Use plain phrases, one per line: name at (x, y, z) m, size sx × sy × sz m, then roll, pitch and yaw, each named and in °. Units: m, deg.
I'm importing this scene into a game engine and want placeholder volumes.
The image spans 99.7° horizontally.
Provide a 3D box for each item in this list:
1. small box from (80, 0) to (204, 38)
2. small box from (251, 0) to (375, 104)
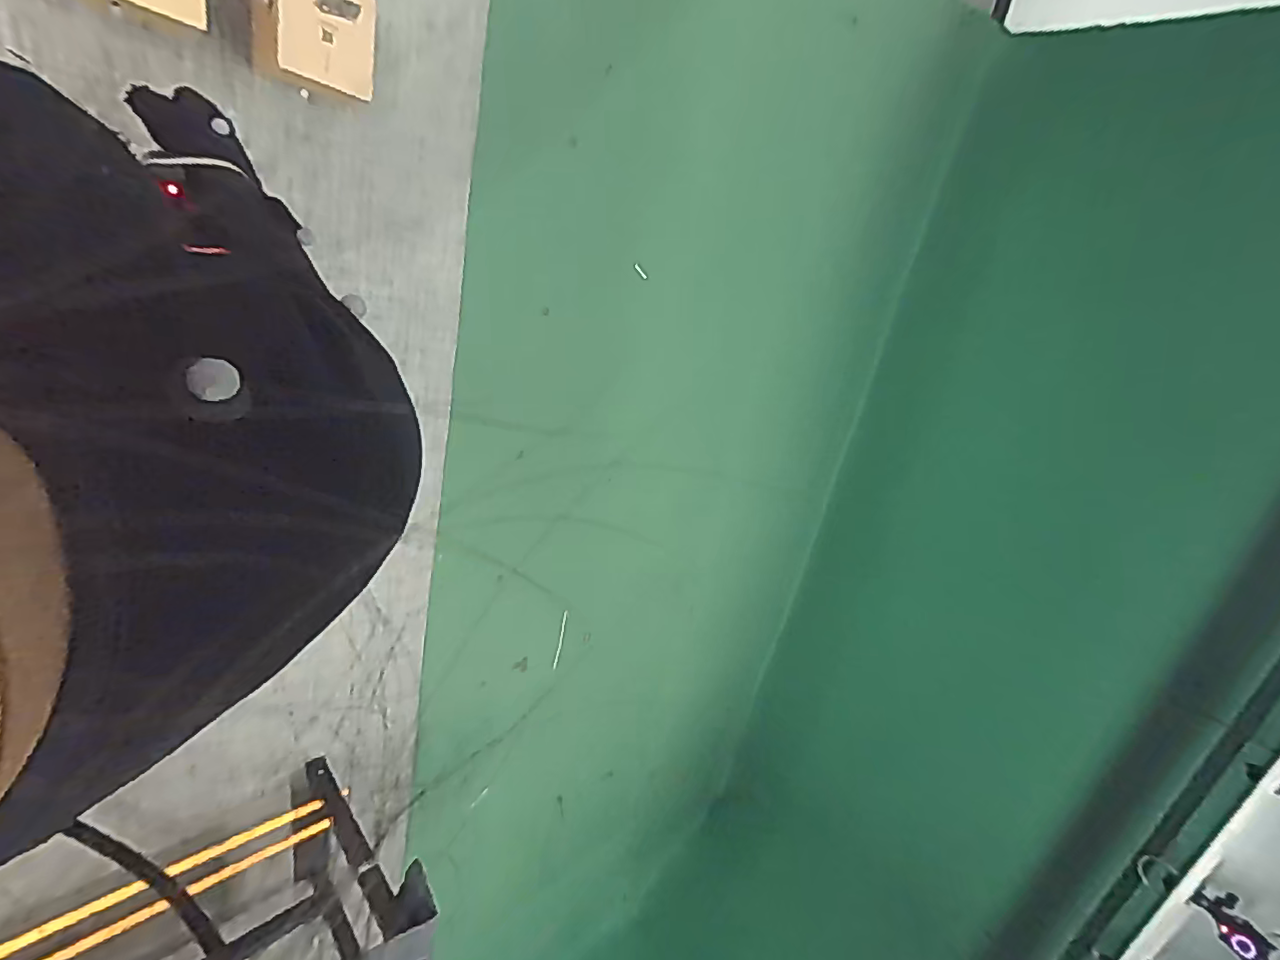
small box at (-0.815, -0.842, 0.856) m, size 0.168 × 0.176 × 0.179 m, roll -10°, pitch 119°, yaw -47°
small box at (-0.638, -0.862, 1.051) m, size 0.168 × 0.176 × 0.179 m, roll -9°, pitch 119°, yaw -47°
